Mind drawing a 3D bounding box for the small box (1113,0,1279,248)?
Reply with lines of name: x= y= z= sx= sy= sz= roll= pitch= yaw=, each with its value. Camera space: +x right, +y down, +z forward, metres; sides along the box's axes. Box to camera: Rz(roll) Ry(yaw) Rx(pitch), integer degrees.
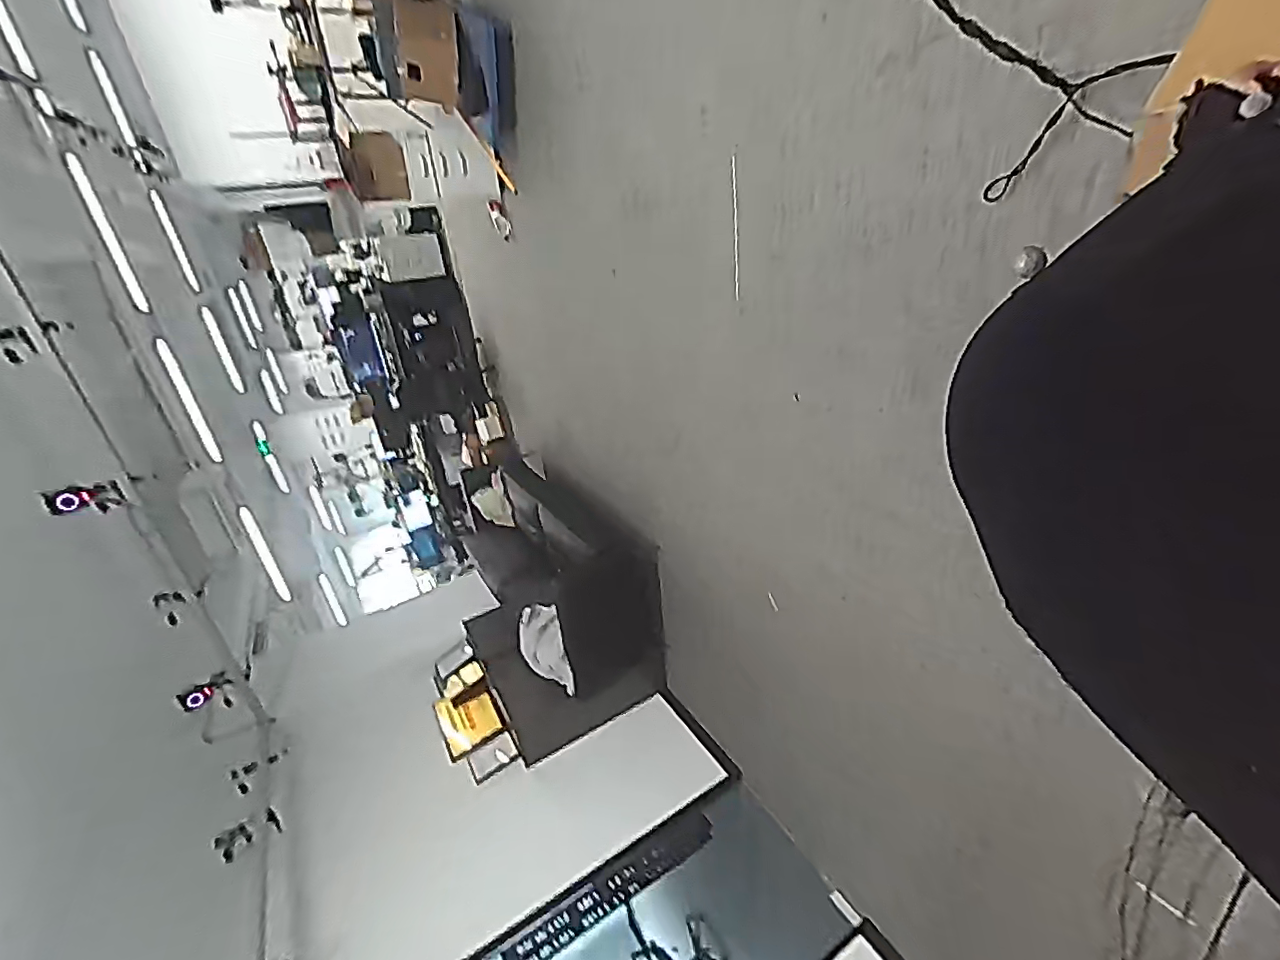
small box: x=0.611 y=-0.359 z=0.525 sx=0.168 sy=0.179 sz=0.176 roll=30 pitch=93 yaw=38
